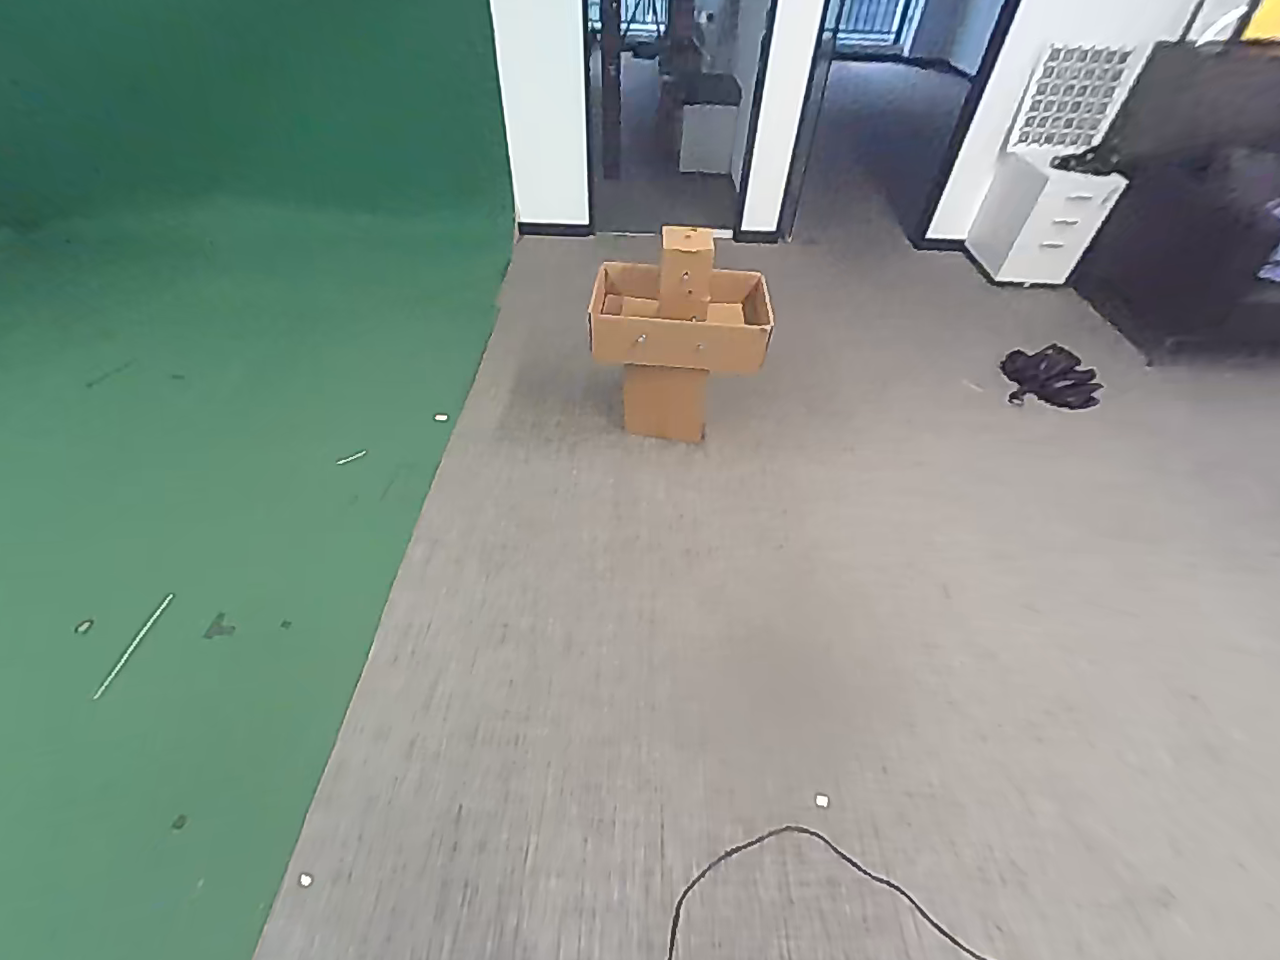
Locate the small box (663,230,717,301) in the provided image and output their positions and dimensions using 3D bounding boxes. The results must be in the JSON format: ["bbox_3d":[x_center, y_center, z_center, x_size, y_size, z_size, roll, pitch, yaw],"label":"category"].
[{"bbox_3d":[0.167,-0.725,1.834,0.168,0.176,0.179,3,47,-1],"label":"small box"}]

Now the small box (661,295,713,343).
[{"bbox_3d":[0.167,-0.609,1.950,0.168,0.176,0.179,3,44,-1],"label":"small box"}]
